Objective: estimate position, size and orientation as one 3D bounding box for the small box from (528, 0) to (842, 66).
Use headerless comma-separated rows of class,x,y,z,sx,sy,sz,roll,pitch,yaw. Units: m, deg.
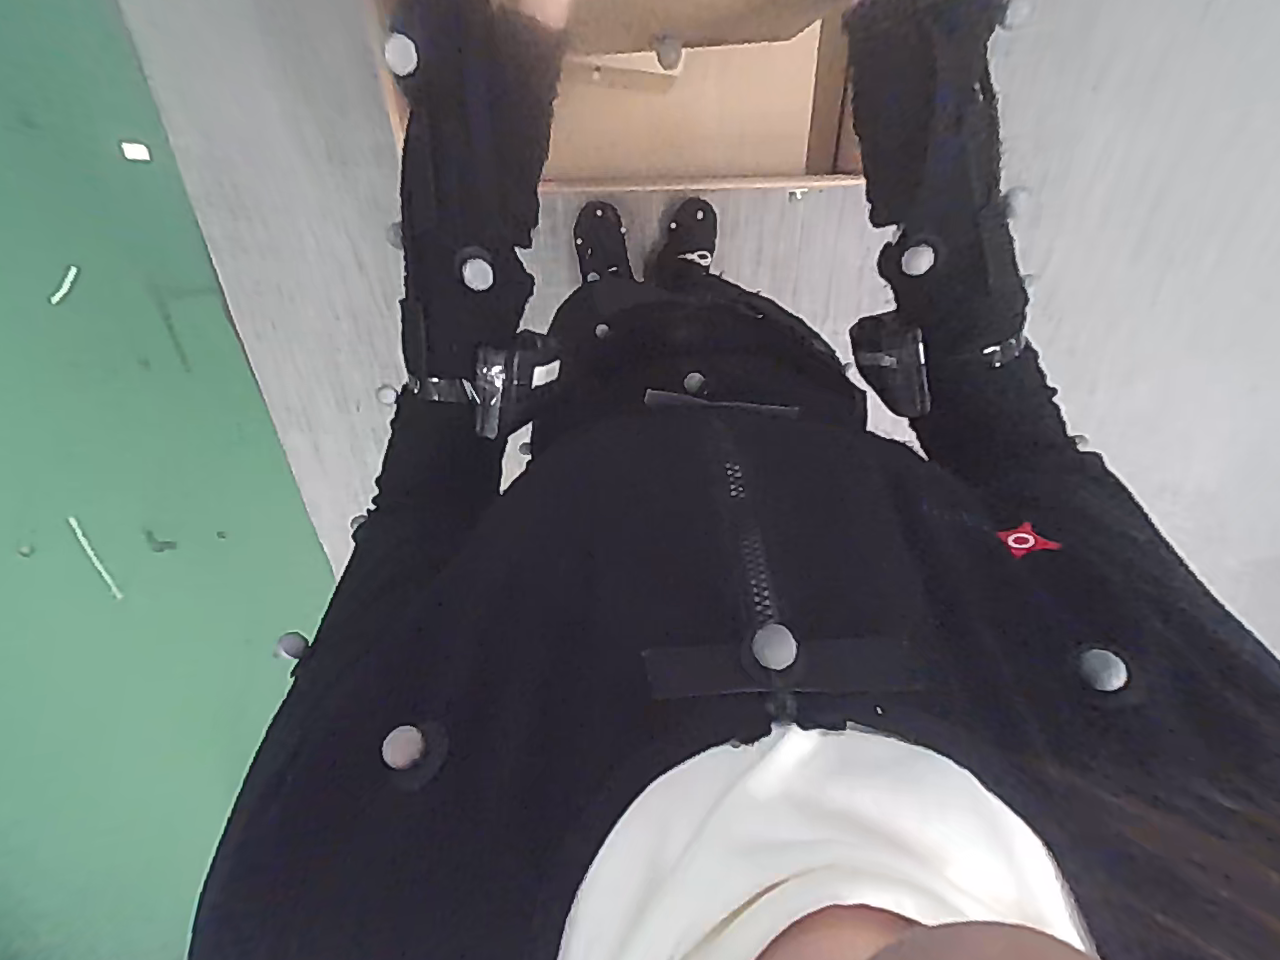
small box,0.015,-0.321,0.251,0.168,0.176,0.179,-4,119,1
